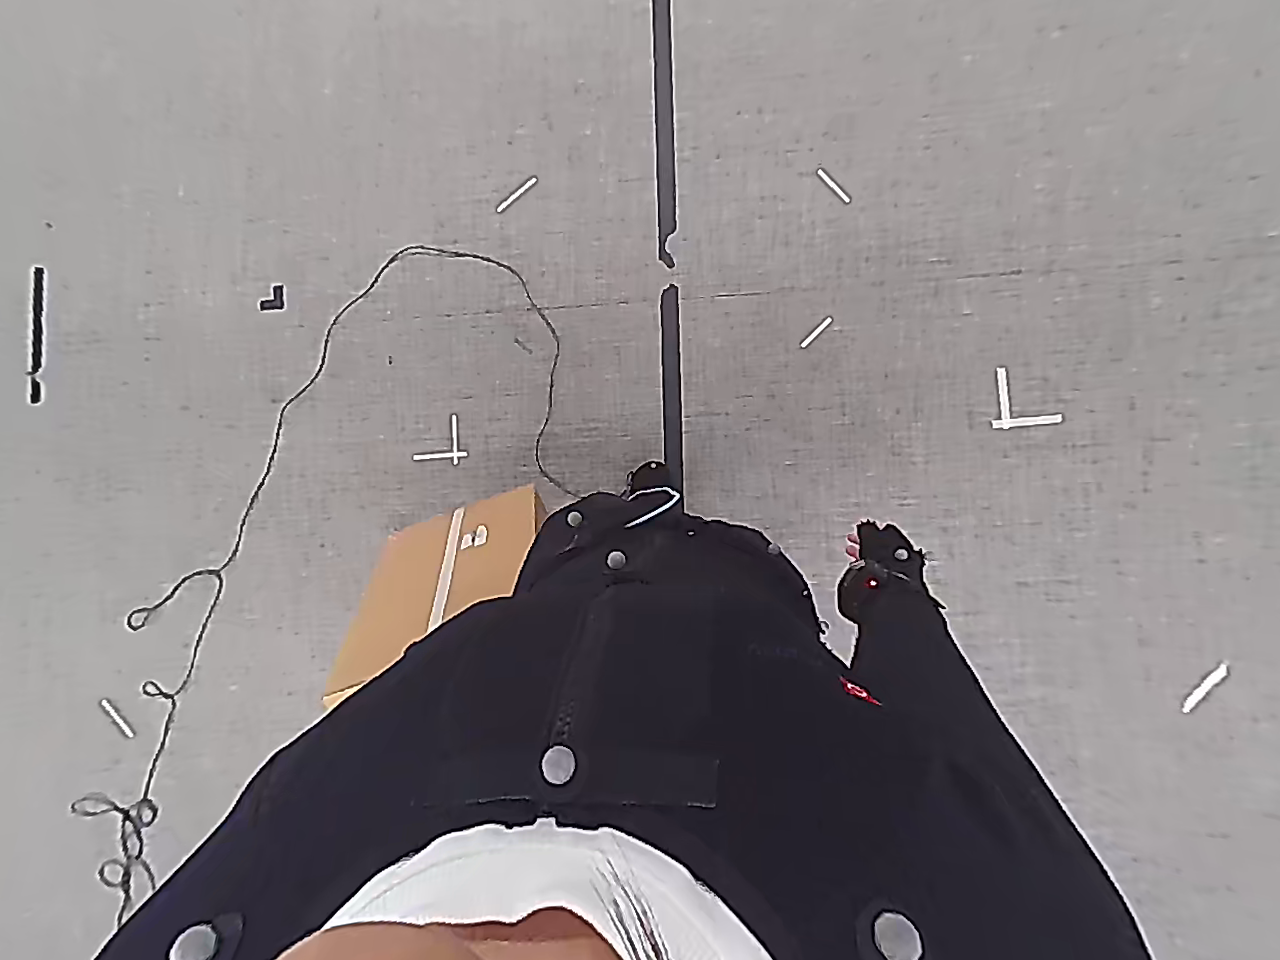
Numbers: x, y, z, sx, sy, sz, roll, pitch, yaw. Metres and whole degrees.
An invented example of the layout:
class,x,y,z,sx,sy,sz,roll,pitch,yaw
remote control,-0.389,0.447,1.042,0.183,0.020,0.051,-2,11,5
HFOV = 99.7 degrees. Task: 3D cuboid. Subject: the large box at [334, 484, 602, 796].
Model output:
class,x,y,z,sx,sy,sz,roll,pitch,yaw
large box,-0.279,0.271,1.001,0.320,0.408,0.320,-18,119,0
